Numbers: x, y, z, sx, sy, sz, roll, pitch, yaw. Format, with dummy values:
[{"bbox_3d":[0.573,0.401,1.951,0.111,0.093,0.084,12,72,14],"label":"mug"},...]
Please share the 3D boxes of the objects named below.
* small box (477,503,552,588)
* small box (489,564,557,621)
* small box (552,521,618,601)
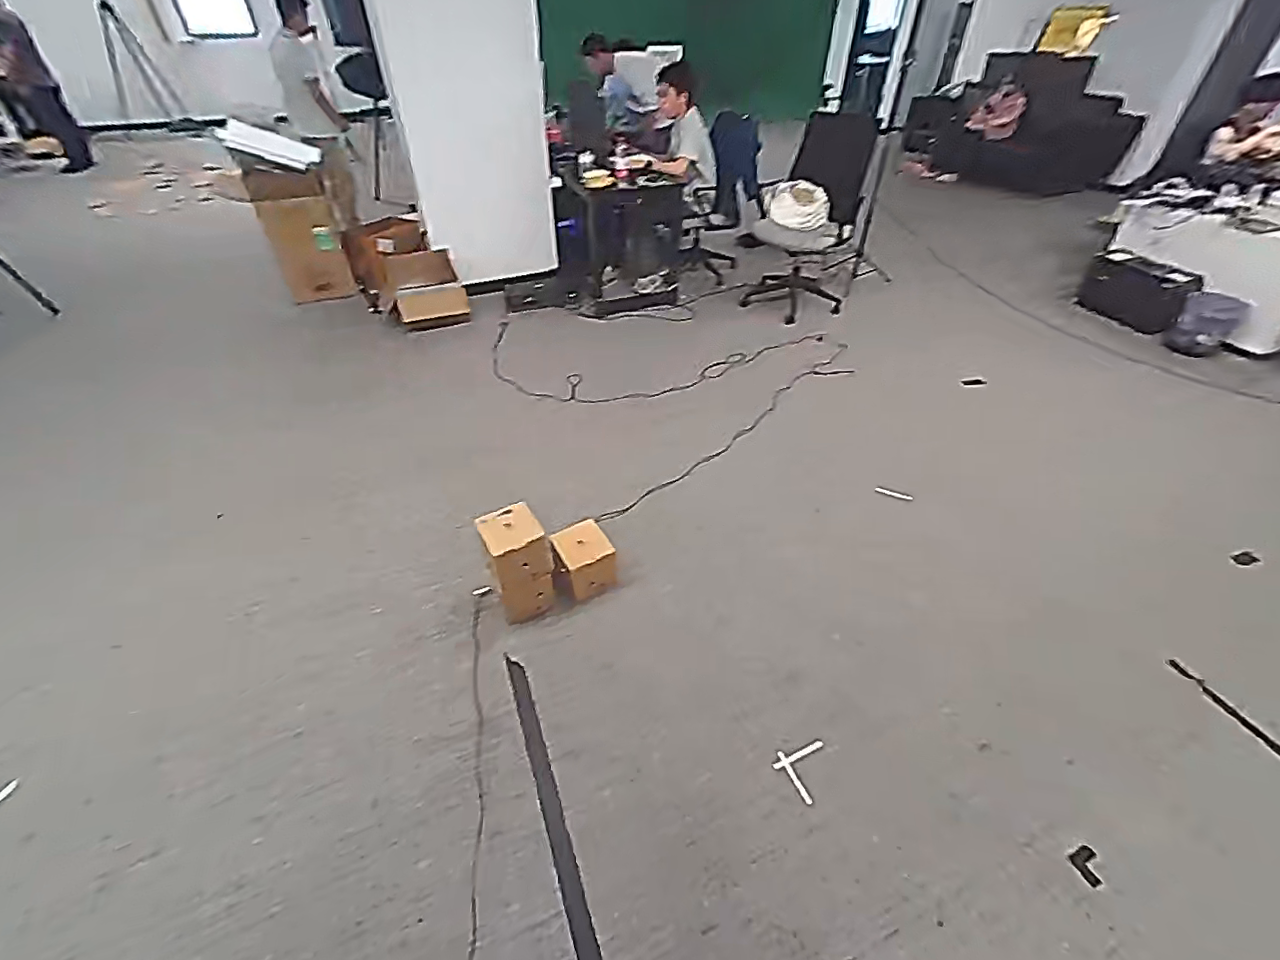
[{"bbox_3d":[-0.384,0.209,1.669,0.168,0.176,0.179,-22,46,-24],"label":"small box"},{"bbox_3d":[-0.382,0.337,1.773,0.168,0.176,0.179,-19,44,-20],"label":"small box"},{"bbox_3d":[-0.185,0.276,1.841,0.168,0.176,0.179,-22,46,-23],"label":"small box"}]
